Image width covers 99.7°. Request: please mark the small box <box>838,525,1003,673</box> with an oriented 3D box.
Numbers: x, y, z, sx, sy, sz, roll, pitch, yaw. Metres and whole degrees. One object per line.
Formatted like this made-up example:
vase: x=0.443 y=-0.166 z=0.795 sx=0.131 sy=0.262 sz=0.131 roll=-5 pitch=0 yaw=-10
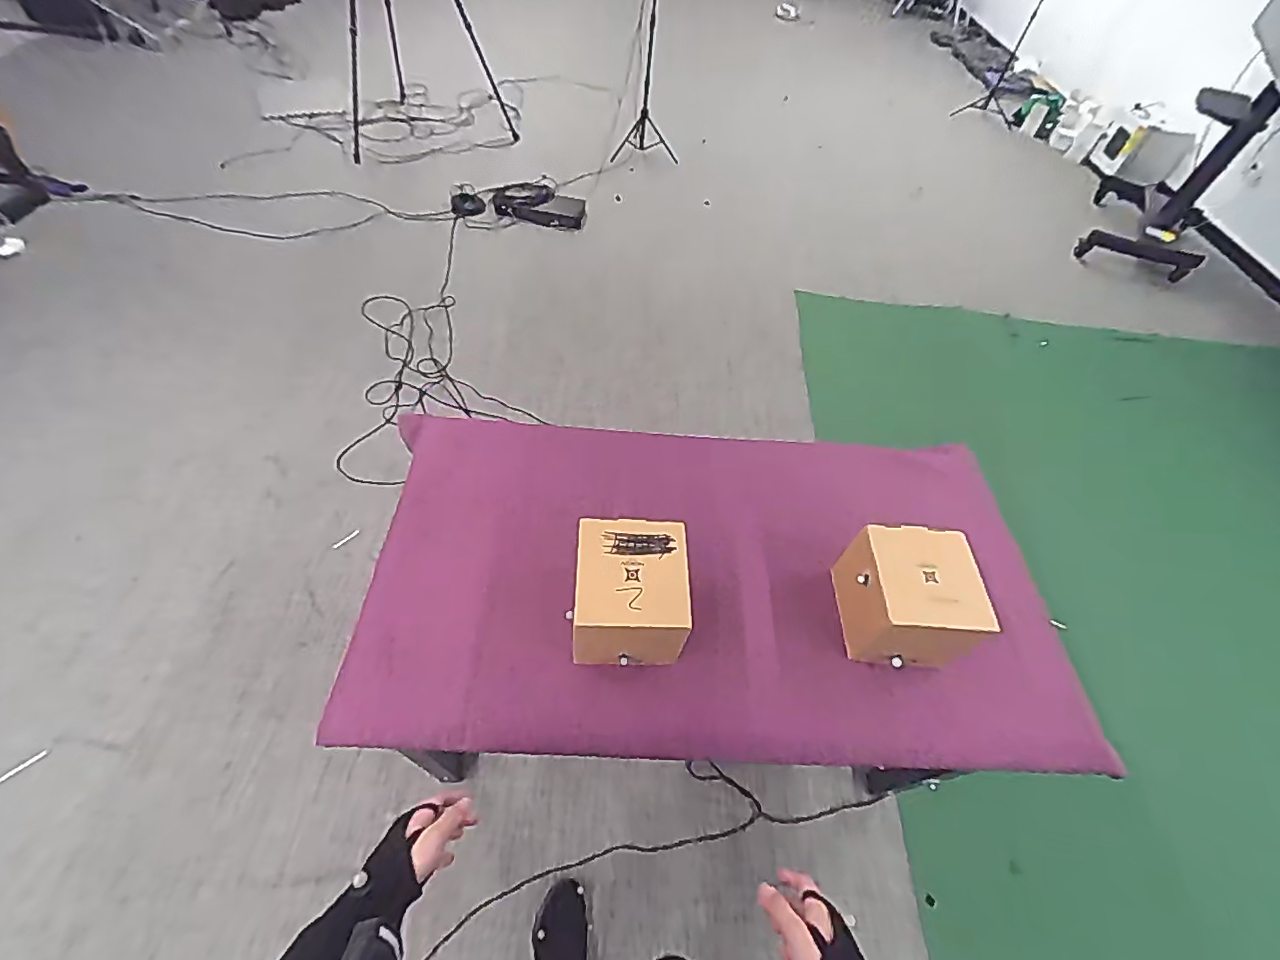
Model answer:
small box: x=0.442 y=0.197 z=0.891 sx=0.168 sy=0.176 sz=0.179 roll=5 pitch=52 yaw=-1
